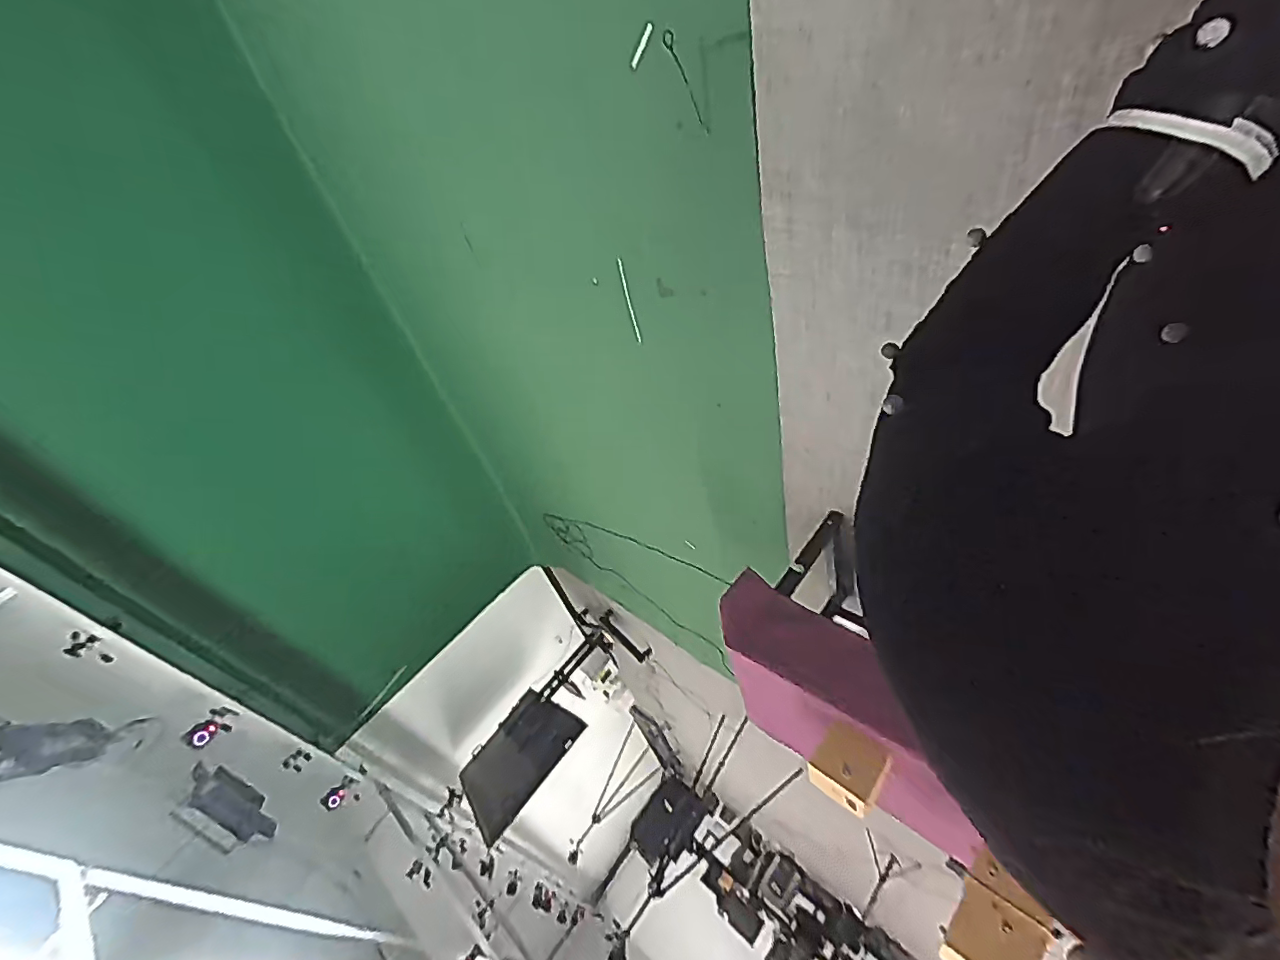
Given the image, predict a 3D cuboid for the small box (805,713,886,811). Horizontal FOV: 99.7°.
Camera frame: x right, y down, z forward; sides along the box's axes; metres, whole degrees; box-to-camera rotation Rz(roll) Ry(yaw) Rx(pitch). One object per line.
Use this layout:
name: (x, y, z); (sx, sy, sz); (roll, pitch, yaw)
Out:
small box: (0.617, 0.840, 1.619); (0.179, 0.176, 0.168); (24, 147, 37)

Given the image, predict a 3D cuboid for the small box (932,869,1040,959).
small box: (0.824, 1.083, 1.293); (0.168, 0.176, 0.179); (22, 145, 40)

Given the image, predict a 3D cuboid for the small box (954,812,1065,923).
small box: (0.926, 0.975, 1.362); (0.179, 0.176, 0.168); (22, 147, 39)
